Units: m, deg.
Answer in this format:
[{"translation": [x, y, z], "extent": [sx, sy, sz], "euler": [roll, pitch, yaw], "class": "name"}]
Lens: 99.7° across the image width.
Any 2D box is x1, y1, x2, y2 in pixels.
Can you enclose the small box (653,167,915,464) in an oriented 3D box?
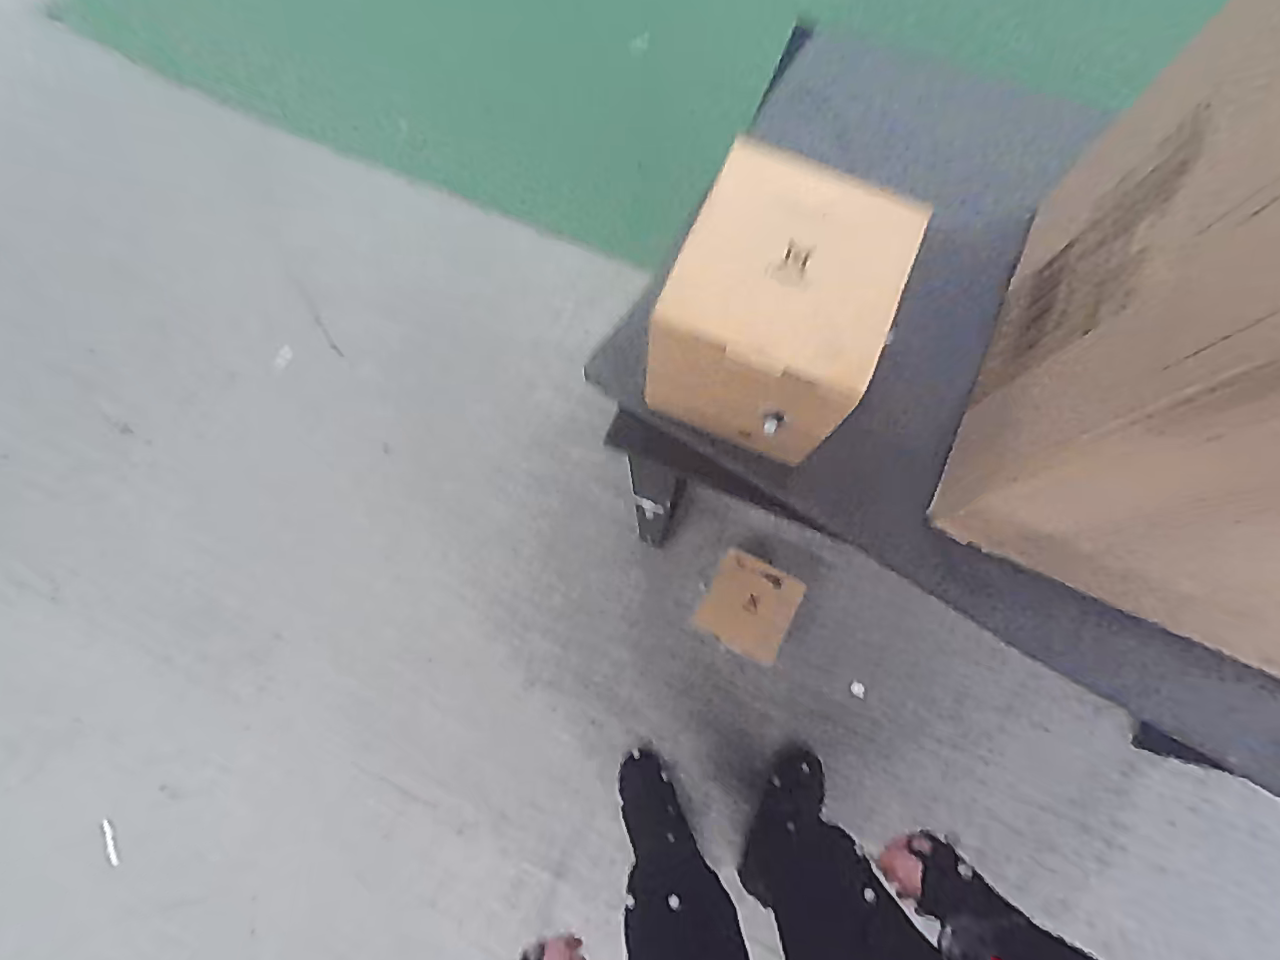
[{"translation": [0.118, -0.137, 0.504], "extent": [0.168, 0.176, 0.179], "euler": [22, 73, 5], "class": "small box"}]
